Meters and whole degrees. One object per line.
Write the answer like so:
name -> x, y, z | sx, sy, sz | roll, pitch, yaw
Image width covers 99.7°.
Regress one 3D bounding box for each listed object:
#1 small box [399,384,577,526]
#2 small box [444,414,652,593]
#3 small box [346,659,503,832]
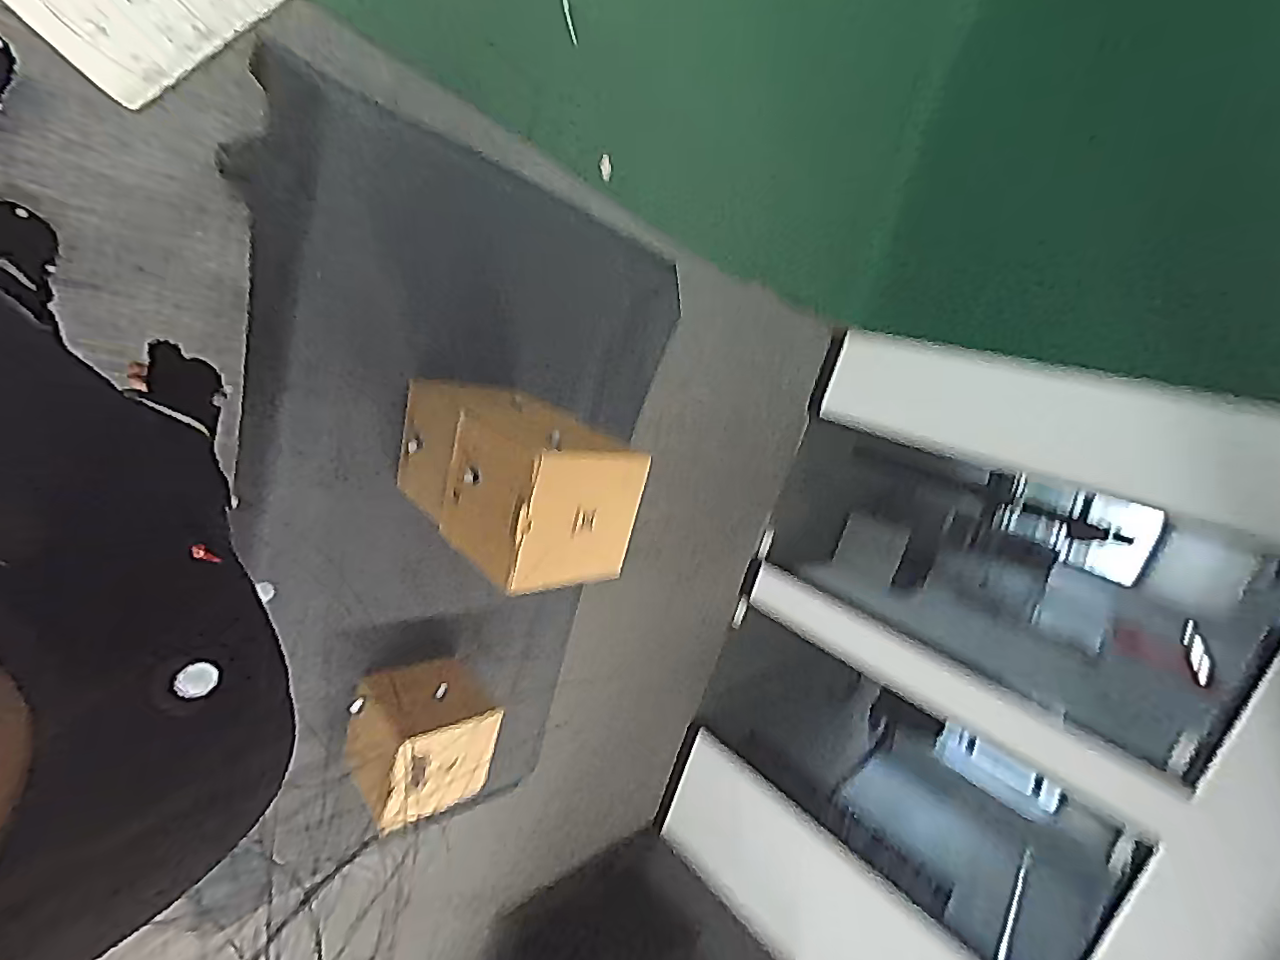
small box -> -0.226, -0.038, 0.798 | 0.179, 0.176, 0.168 | -1, 111, -47
small box -> -0.119, 0.020, 0.689 | 0.179, 0.176, 0.168 | 0, 111, -48
small box -> -0.364, 0.427, 0.903 | 0.179, 0.176, 0.168 | 4, 108, -49
